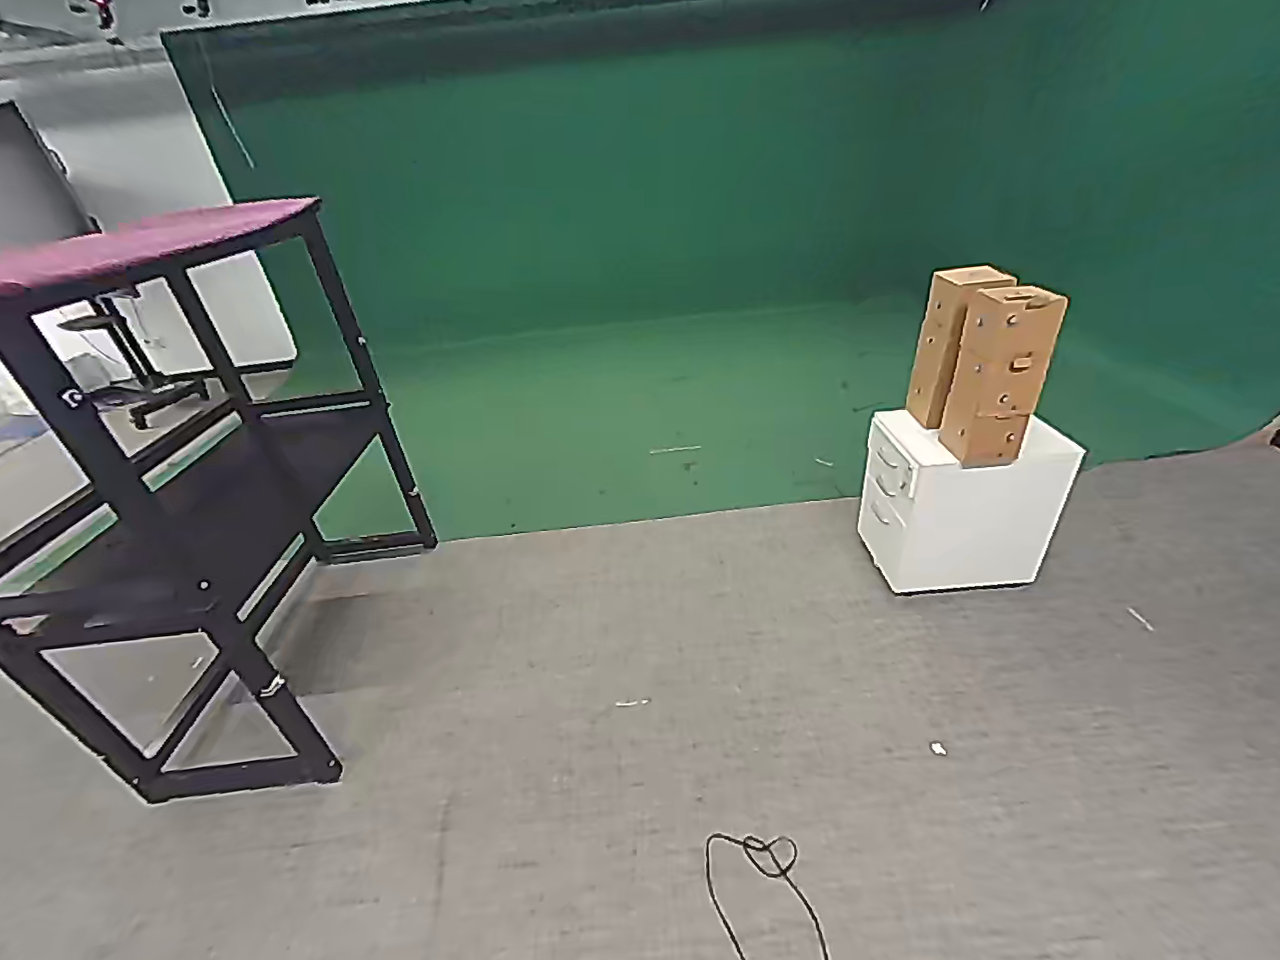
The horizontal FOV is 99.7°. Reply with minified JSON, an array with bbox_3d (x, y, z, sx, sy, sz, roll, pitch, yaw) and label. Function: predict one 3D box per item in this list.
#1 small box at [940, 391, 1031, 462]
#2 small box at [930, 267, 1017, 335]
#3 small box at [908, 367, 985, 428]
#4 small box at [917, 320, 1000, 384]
[{"bbox_3d":[1.082,-0.166,1.708,0.168,0.176,0.179,-4,30,1],"label":"small box"},{"bbox_3d":[1.053,-0.571,1.731,0.179,0.176,0.168,-5,34,2],"label":"small box"},{"bbox_3d":[1.075,-0.299,1.914,0.168,0.176,0.179,-5,33,3],"label":"small box"},{"bbox_3d":[1.064,-0.437,1.826,0.168,0.176,0.179,-5,34,2],"label":"small box"}]
